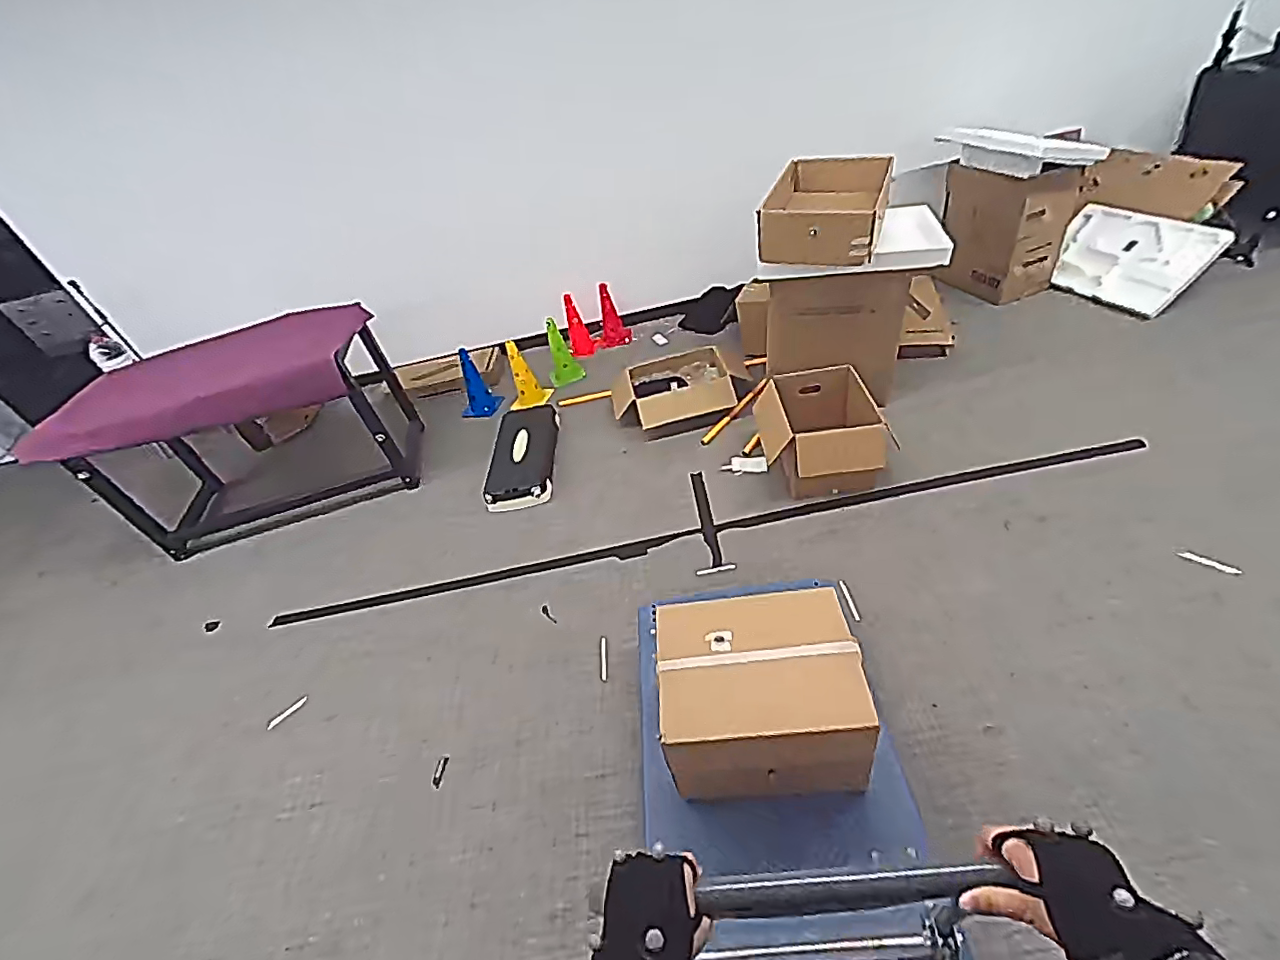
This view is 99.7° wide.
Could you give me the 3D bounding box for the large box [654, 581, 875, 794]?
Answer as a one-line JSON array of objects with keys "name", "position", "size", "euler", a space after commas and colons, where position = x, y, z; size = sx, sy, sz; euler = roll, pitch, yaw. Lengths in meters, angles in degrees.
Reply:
[{"name": "large box", "position": [0.259, 0.465, 1.200], "size": [0.408, 0.320, 0.320], "euler": [-9, 40, 8]}]
